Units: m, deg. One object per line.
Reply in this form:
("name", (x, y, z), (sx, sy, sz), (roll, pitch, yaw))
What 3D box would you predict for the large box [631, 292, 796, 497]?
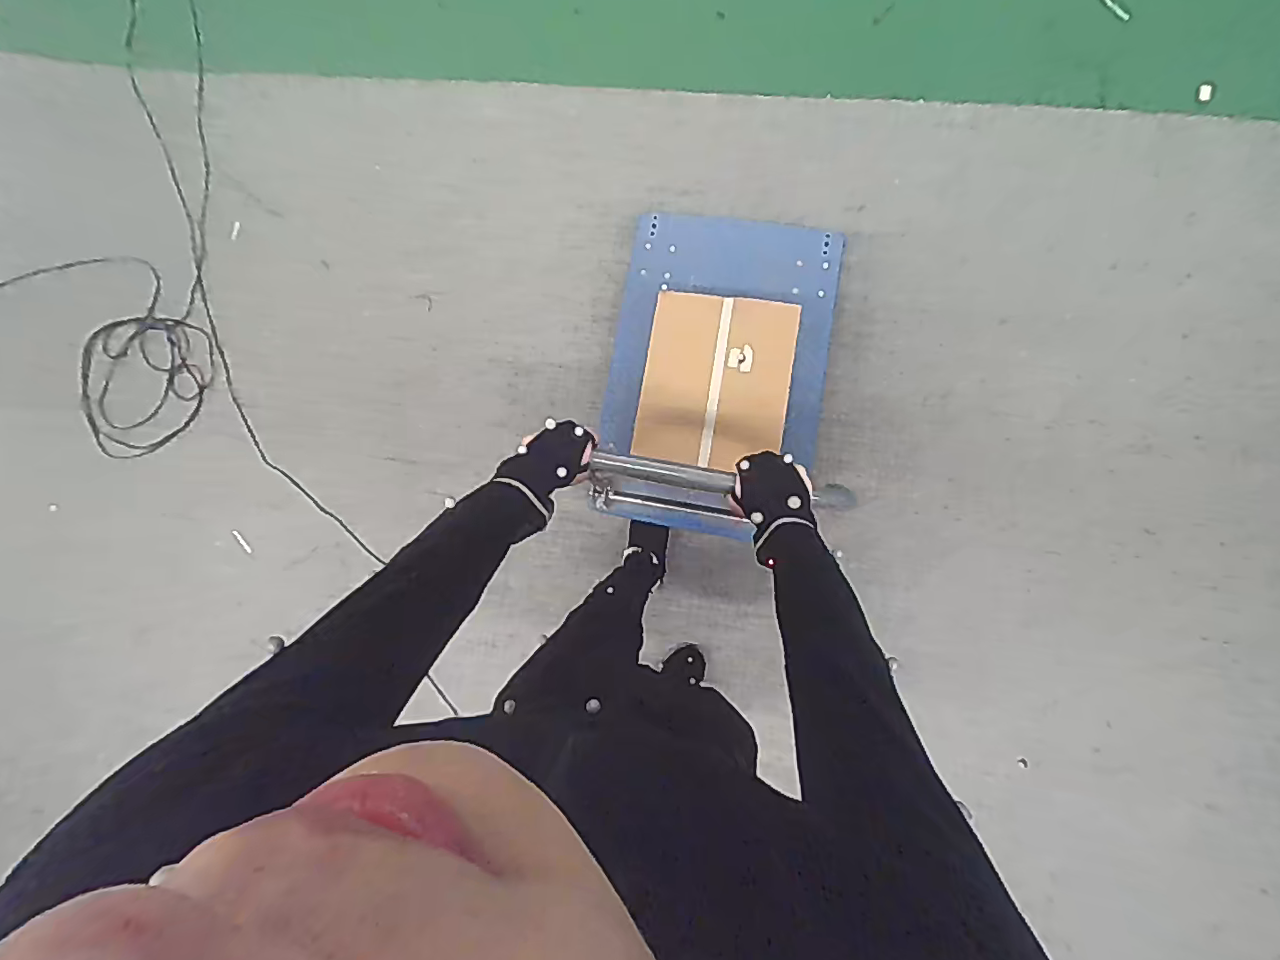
("large box", (0.178, -0.187, 1.317), (0.320, 0.320, 0.408), (9, 84, 8))
